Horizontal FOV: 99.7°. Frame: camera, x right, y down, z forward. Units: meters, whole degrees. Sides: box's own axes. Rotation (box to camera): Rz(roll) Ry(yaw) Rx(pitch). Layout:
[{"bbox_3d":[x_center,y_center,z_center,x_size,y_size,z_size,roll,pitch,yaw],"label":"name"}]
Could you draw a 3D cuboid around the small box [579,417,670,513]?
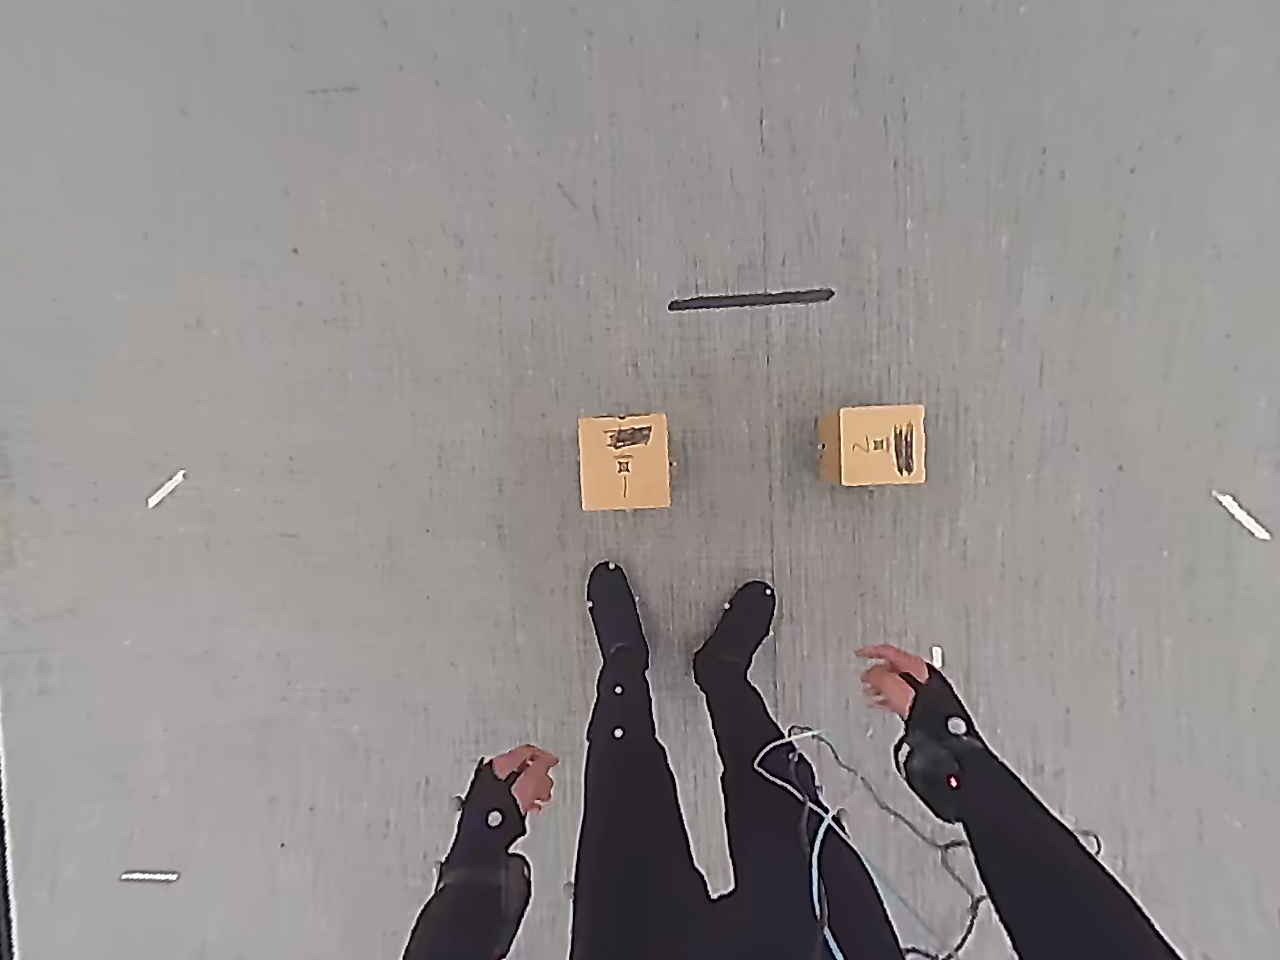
[{"bbox_3d":[-0.026,-0.029,1.072,0.168,0.176,0.179,-2,93,4],"label":"small box"}]
